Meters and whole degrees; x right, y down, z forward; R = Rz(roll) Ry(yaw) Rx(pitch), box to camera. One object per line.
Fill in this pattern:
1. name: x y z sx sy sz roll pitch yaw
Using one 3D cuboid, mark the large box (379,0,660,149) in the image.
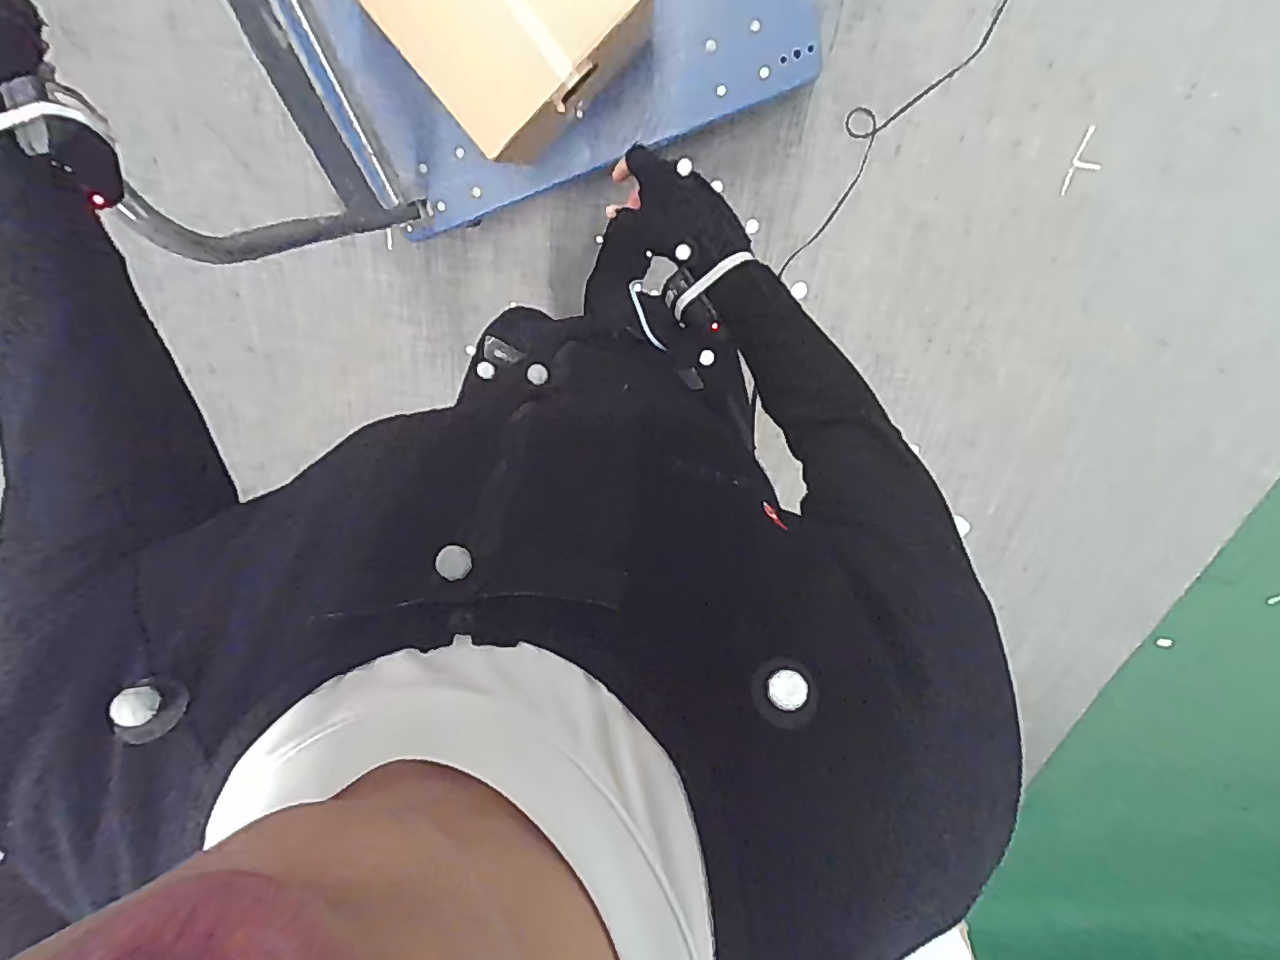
1. large box: -0.209 -0.773 0.787 0.320 0.320 0.408 -35 113 18
